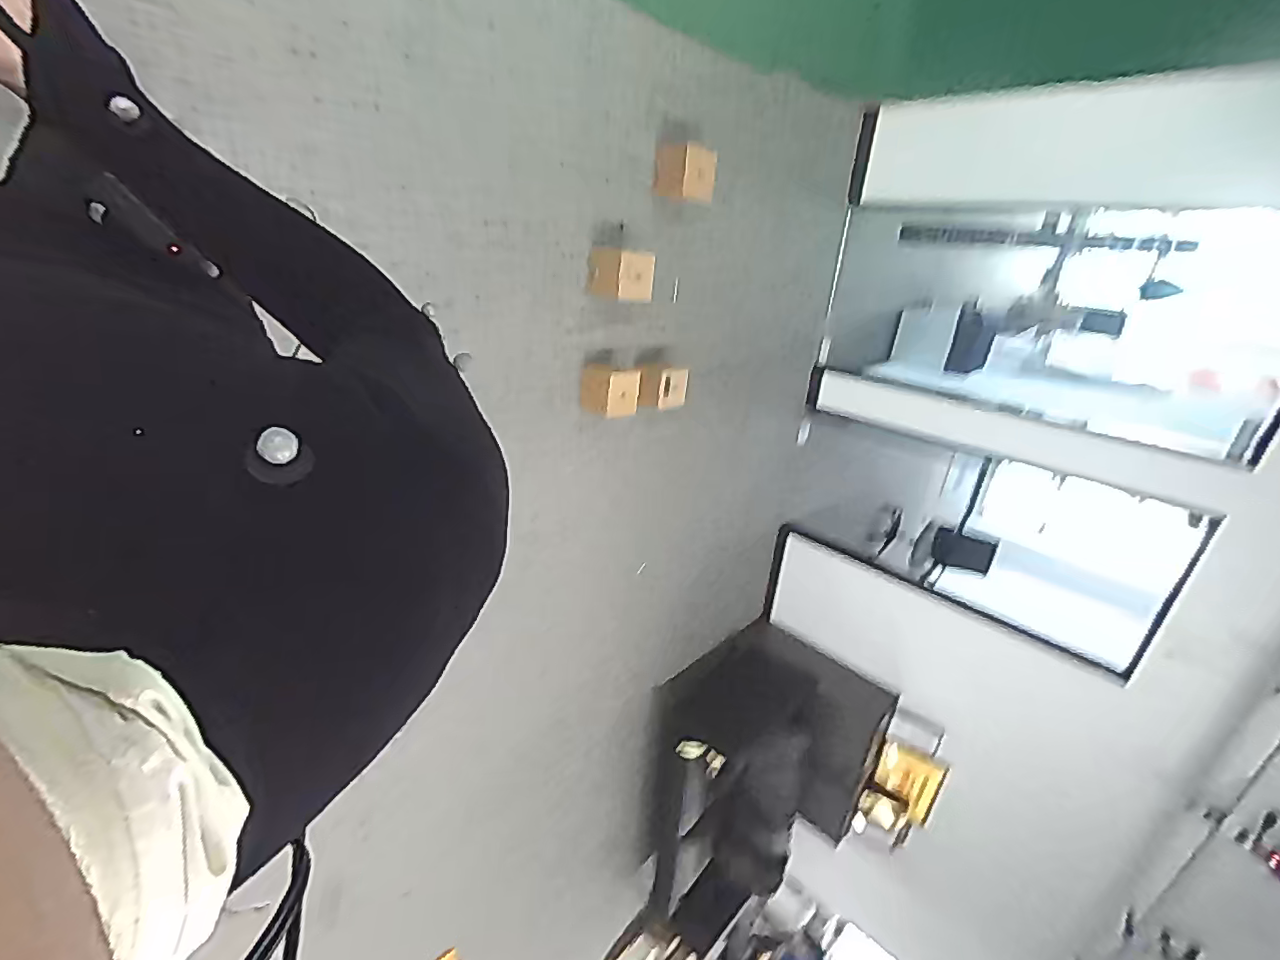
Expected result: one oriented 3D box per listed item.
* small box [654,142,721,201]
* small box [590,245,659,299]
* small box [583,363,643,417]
[{"bbox_3d":[0.177,-1.160,2.035,0.179,0.176,0.168,-15,120,-43],"label":"small box"},{"bbox_3d":[-0.058,-0.762,1.983,0.179,0.176,0.168,-17,122,-43],"label":"small box"},{"bbox_3d":[-0.112,-0.363,2.146,0.168,0.176,0.179,-16,123,-43],"label":"small box"}]
